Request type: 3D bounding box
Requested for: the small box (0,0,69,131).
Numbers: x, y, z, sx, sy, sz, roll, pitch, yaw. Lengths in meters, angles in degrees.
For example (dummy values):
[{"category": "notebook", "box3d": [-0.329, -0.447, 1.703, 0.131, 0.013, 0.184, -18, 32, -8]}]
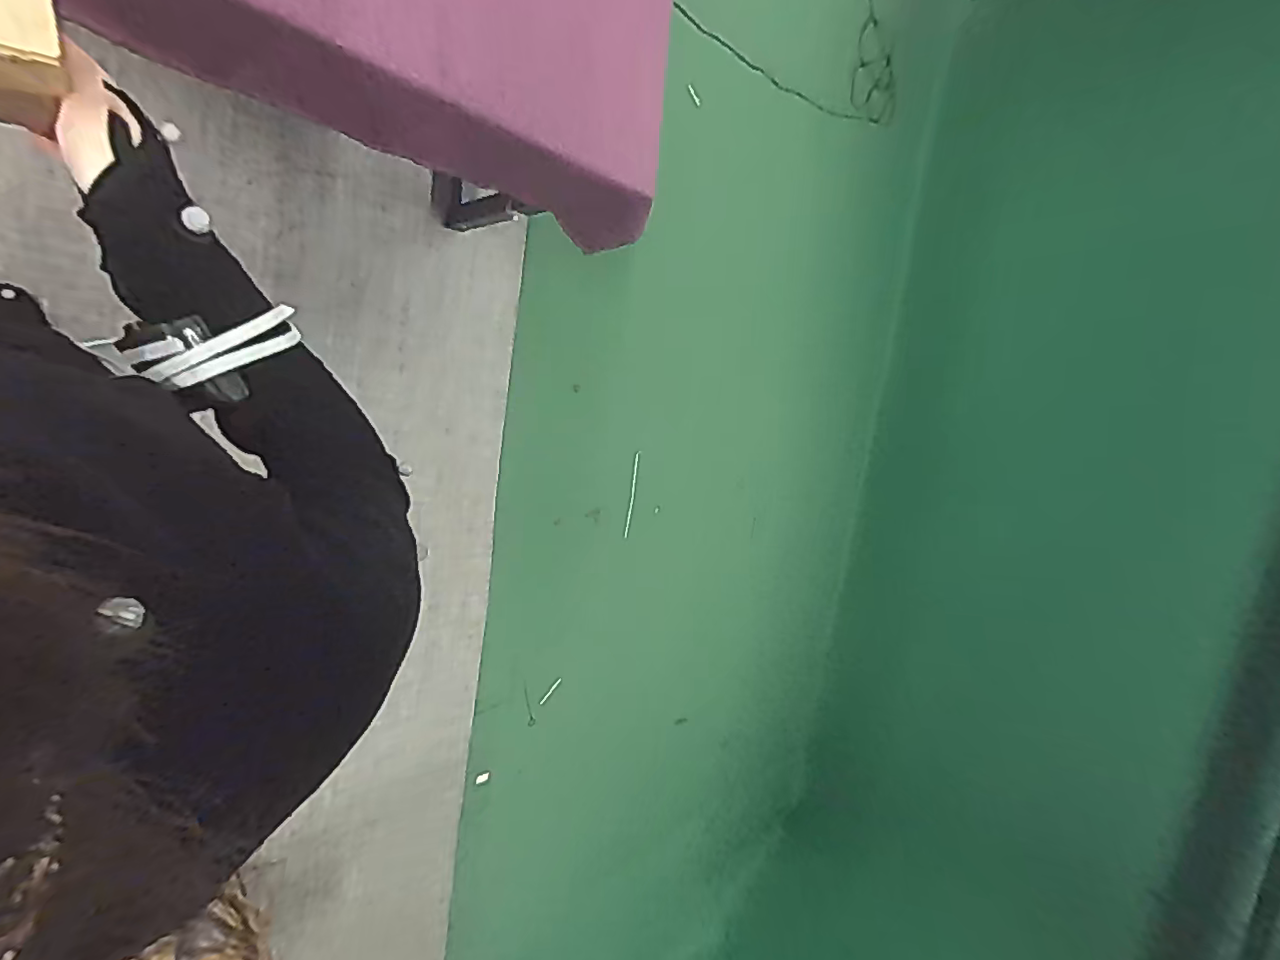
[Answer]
[{"category": "small box", "box3d": [-0.399, -0.292, 0.250, 0.168, 0.176, 0.179, -12, 110, -43]}]
